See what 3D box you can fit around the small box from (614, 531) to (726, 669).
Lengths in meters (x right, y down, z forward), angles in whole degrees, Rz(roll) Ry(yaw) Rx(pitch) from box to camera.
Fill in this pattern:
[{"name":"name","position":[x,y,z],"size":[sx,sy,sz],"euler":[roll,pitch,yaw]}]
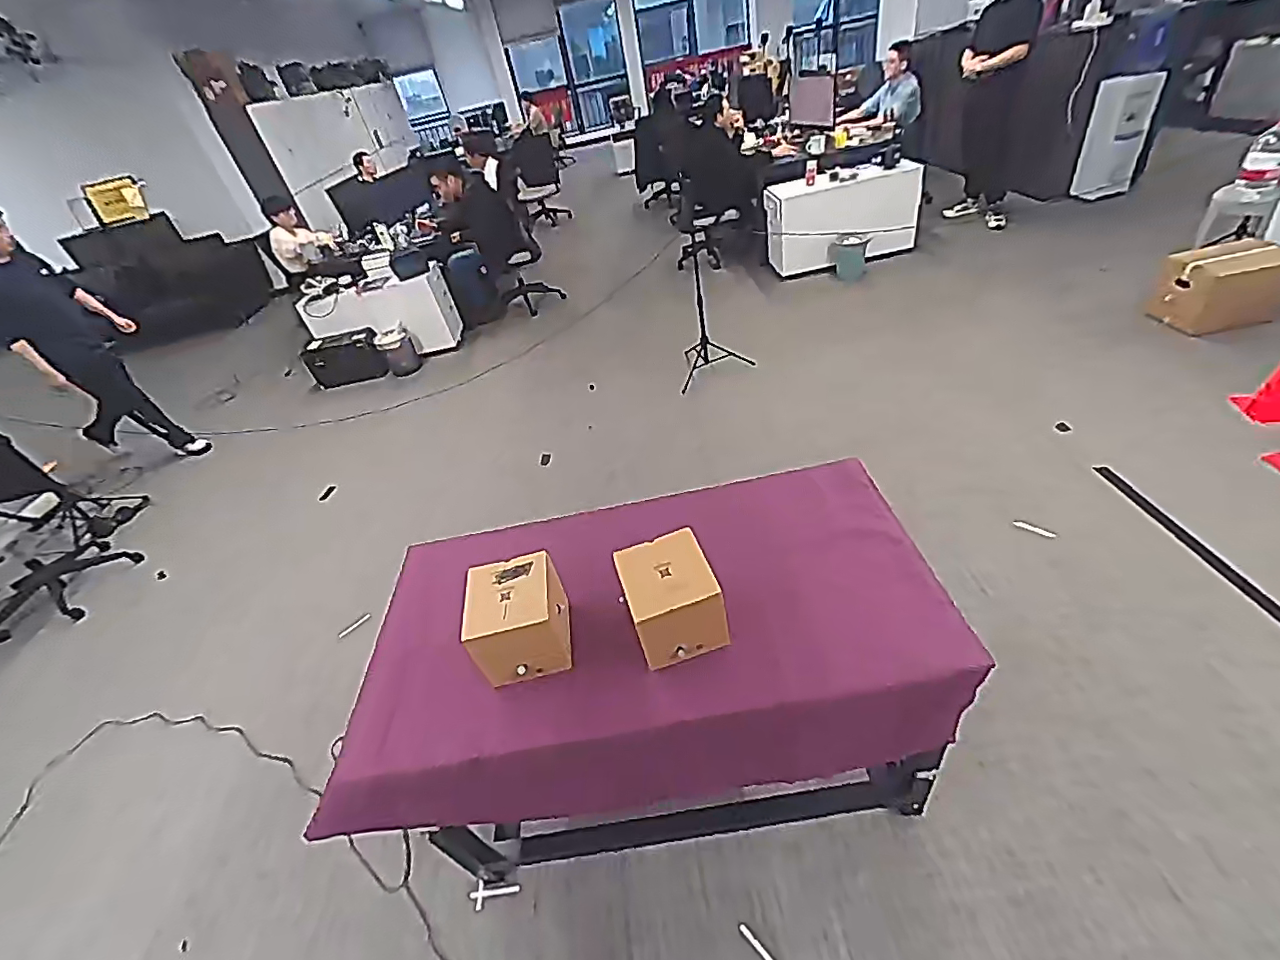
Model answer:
[{"name":"small box","position":[0.059,0.236,1.065],"size":[0.168,0.176,0.179],"euler":[-19,39,-5]}]

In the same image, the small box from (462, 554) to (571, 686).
[{"name":"small box","position":[-0.242,0.284,1.094],"size":[0.168,0.176,0.179],"euler":[-14,39,0]}]
